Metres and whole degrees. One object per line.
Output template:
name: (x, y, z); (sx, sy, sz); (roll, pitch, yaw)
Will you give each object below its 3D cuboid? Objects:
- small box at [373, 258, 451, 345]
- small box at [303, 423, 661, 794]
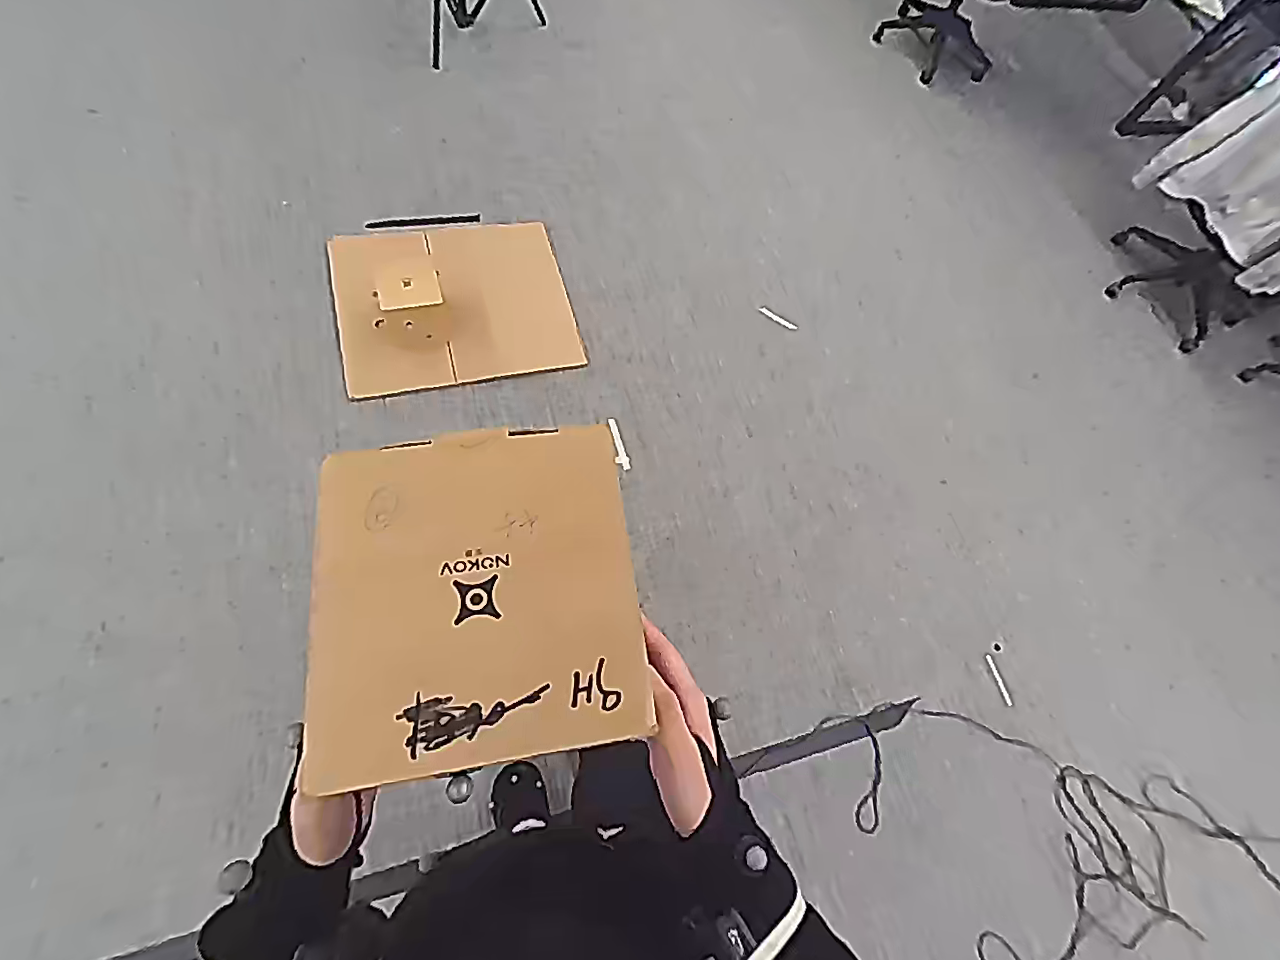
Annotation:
small box: (-0.659, -0.512, 1.576); (0.168, 0.176, 0.179); (-14, 70, -17)
small box: (-0.088, 0.086, 0.356); (0.168, 0.176, 0.179); (-8, 67, -6)
